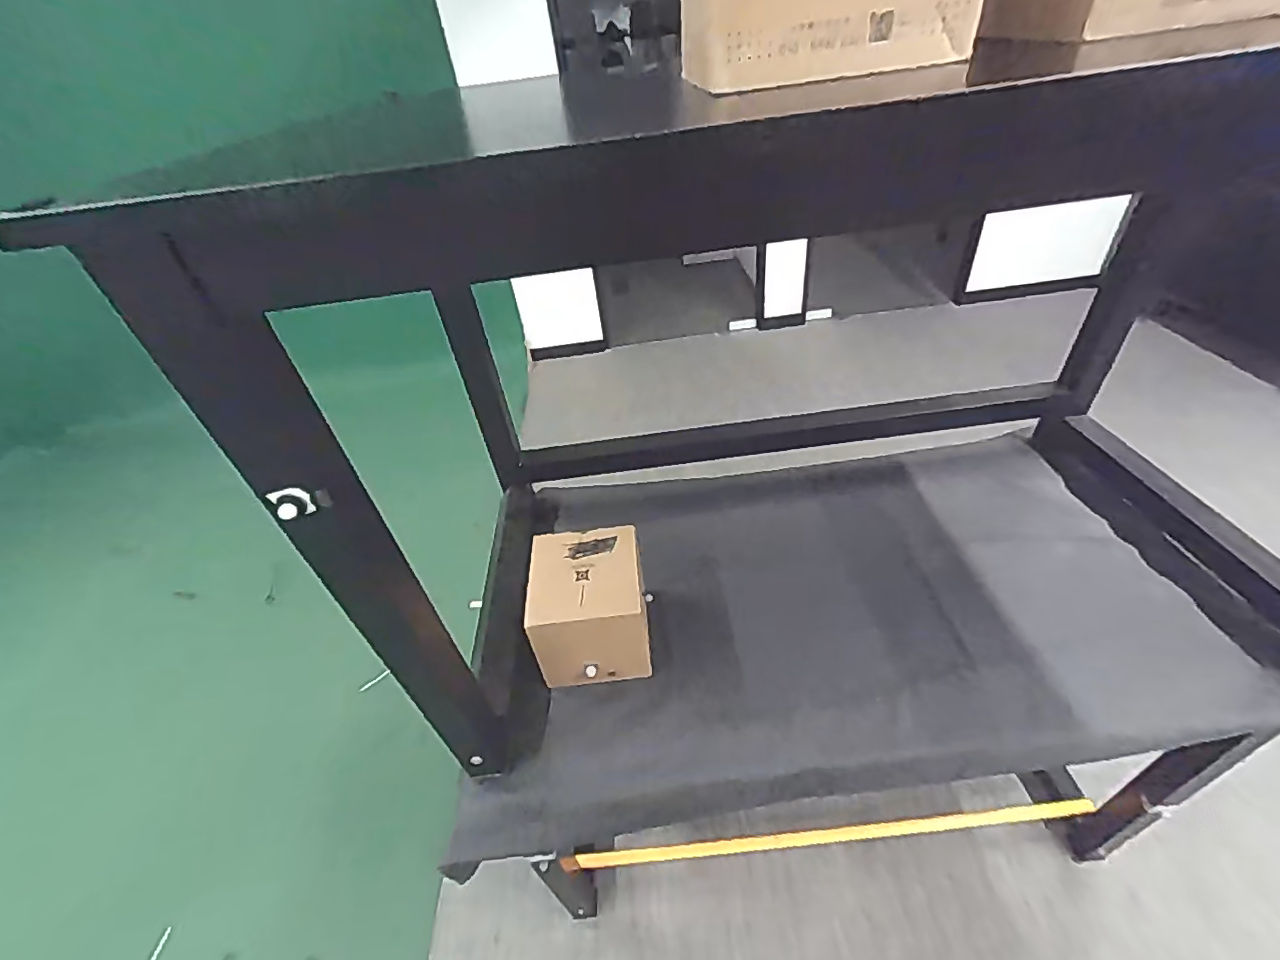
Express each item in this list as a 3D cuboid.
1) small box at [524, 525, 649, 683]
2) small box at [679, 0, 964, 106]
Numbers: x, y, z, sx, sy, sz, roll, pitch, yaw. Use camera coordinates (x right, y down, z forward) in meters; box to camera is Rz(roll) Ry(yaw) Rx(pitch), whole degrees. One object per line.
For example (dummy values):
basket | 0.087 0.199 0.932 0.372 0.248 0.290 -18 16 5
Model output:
small box | -0.078 0.197 0.865 0.168 0.176 0.179 -7 40 1
small box | 0.115 -0.371 0.372 0.168 0.176 0.179 -7 39 1
